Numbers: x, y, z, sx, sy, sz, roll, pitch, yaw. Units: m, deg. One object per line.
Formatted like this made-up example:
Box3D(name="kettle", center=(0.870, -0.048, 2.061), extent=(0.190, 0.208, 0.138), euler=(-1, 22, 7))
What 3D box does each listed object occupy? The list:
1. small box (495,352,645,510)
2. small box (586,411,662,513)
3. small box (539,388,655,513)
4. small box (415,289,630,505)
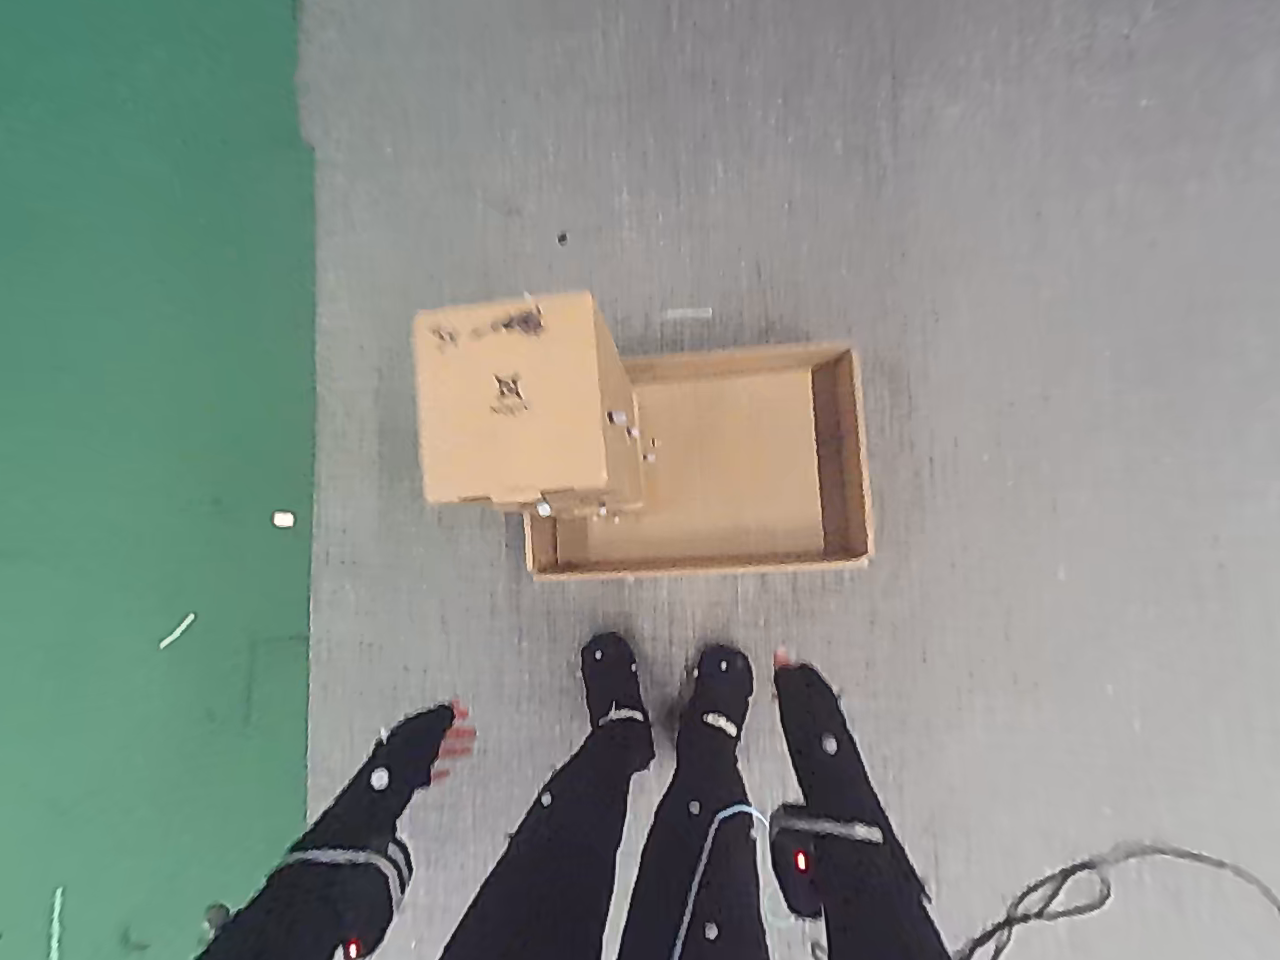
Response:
Box3D(name="small box", center=(-0.087, -0.054, 0.706), extent=(0.168, 0.176, 0.179), euler=(-5, 86, 5))
Box3D(name="small box", center=(-0.046, -0.027, 1.029), extent=(0.168, 0.176, 0.179), euler=(-2, 86, 7))
Box3D(name="small box", center=(-0.065, -0.038, 0.868), extent=(0.168, 0.176, 0.179), euler=(-3, 86, 6))
Box3D(name="small box", center=(-0.104, -0.068, 0.544), extent=(0.168, 0.176, 0.179), euler=(-5, 87, 5))
